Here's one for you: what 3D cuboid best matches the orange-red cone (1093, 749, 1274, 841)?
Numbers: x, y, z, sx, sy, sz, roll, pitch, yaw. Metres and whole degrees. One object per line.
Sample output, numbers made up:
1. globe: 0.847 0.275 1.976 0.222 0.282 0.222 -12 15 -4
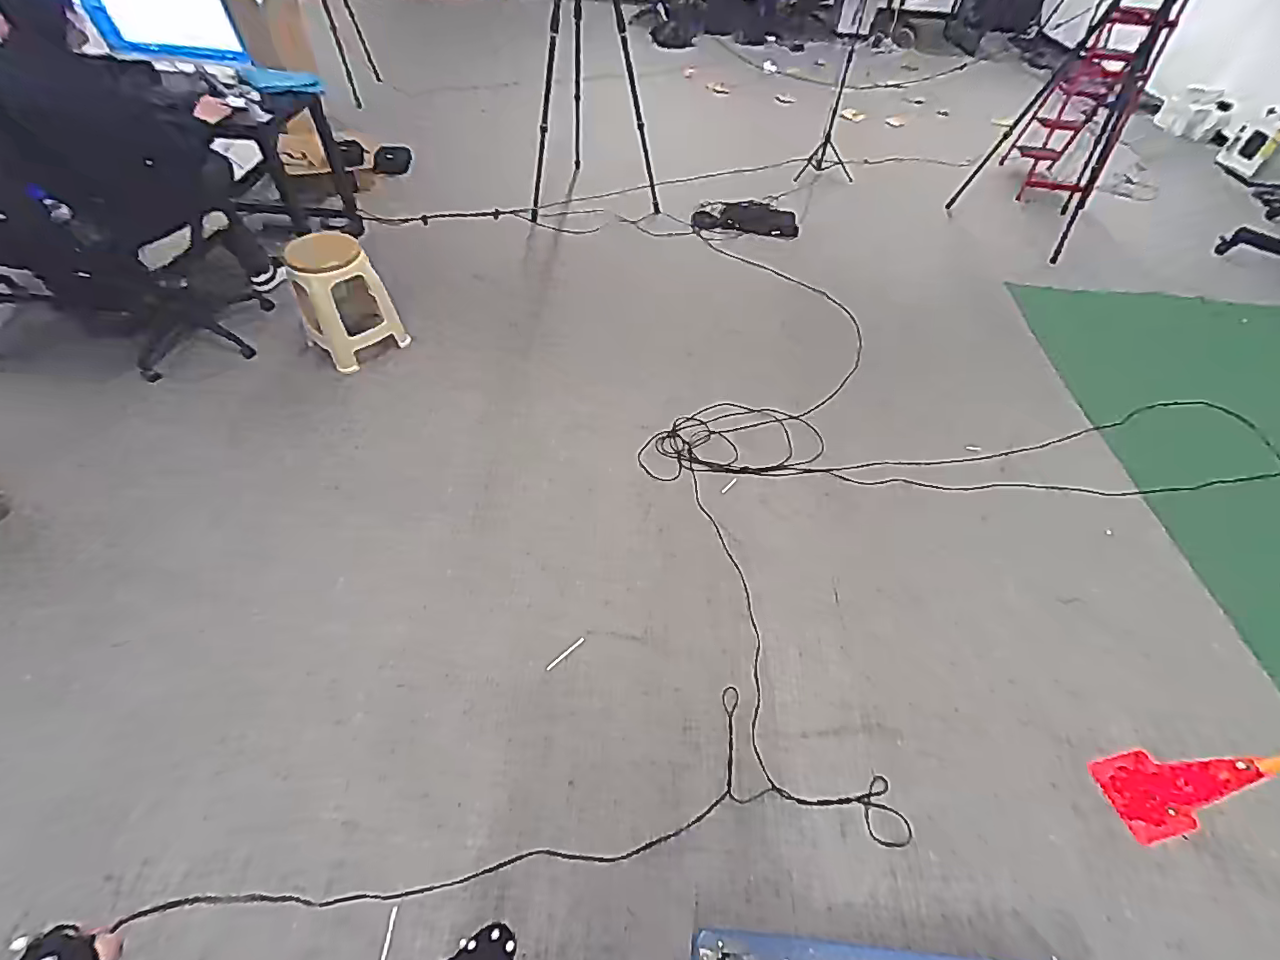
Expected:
1. orange-red cone: 1.369 0.736 1.329 0.198 0.360 0.199 -7 50 -10
